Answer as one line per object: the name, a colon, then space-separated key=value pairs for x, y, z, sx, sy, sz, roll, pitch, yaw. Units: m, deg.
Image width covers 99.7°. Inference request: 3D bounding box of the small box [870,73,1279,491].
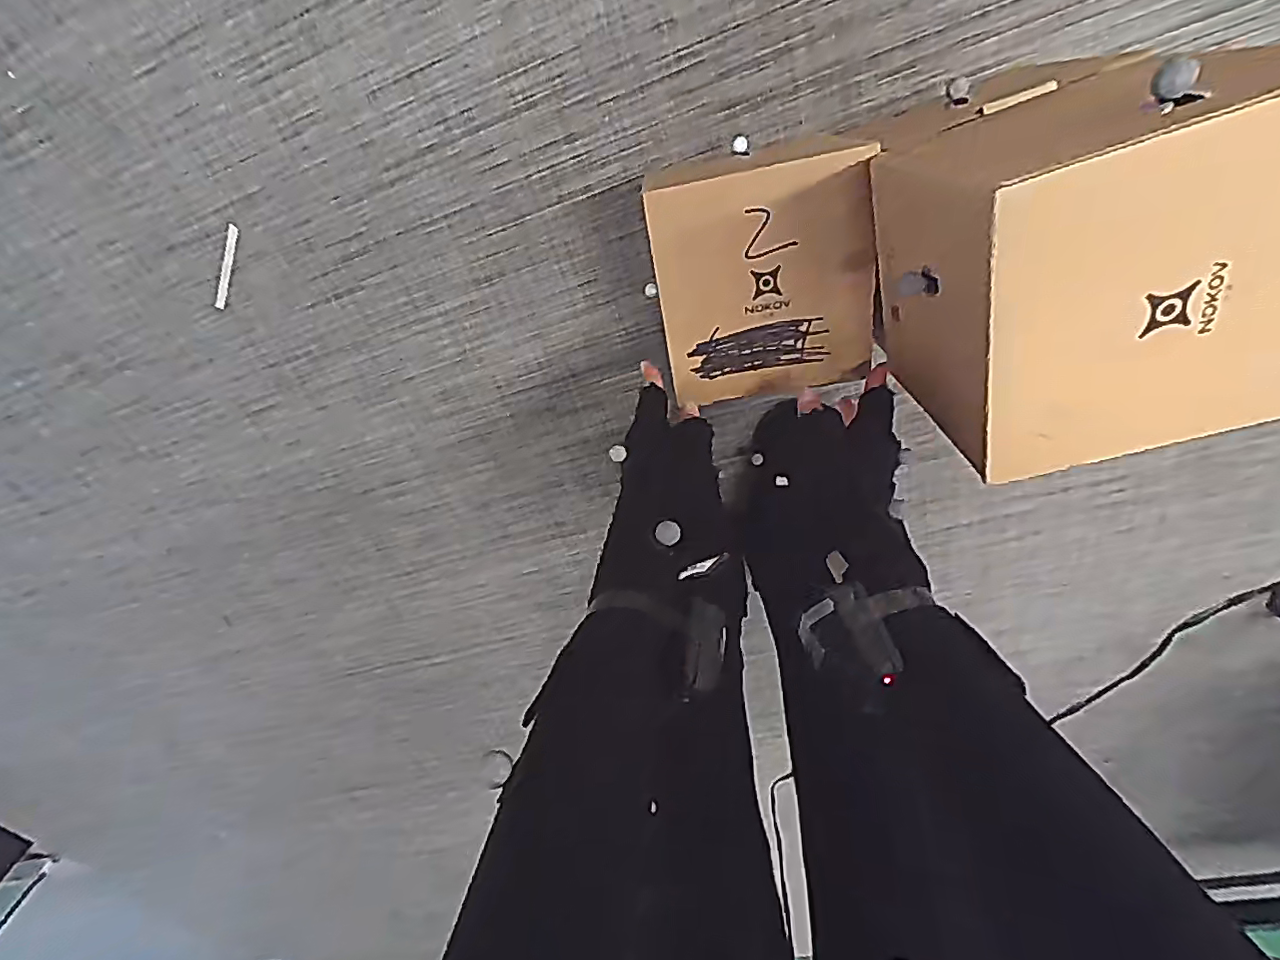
small box: x=0.257 y=-0.122 z=0.336 sx=0.179 sy=0.176 sz=0.168 roll=-15 pitch=121 yaw=11
